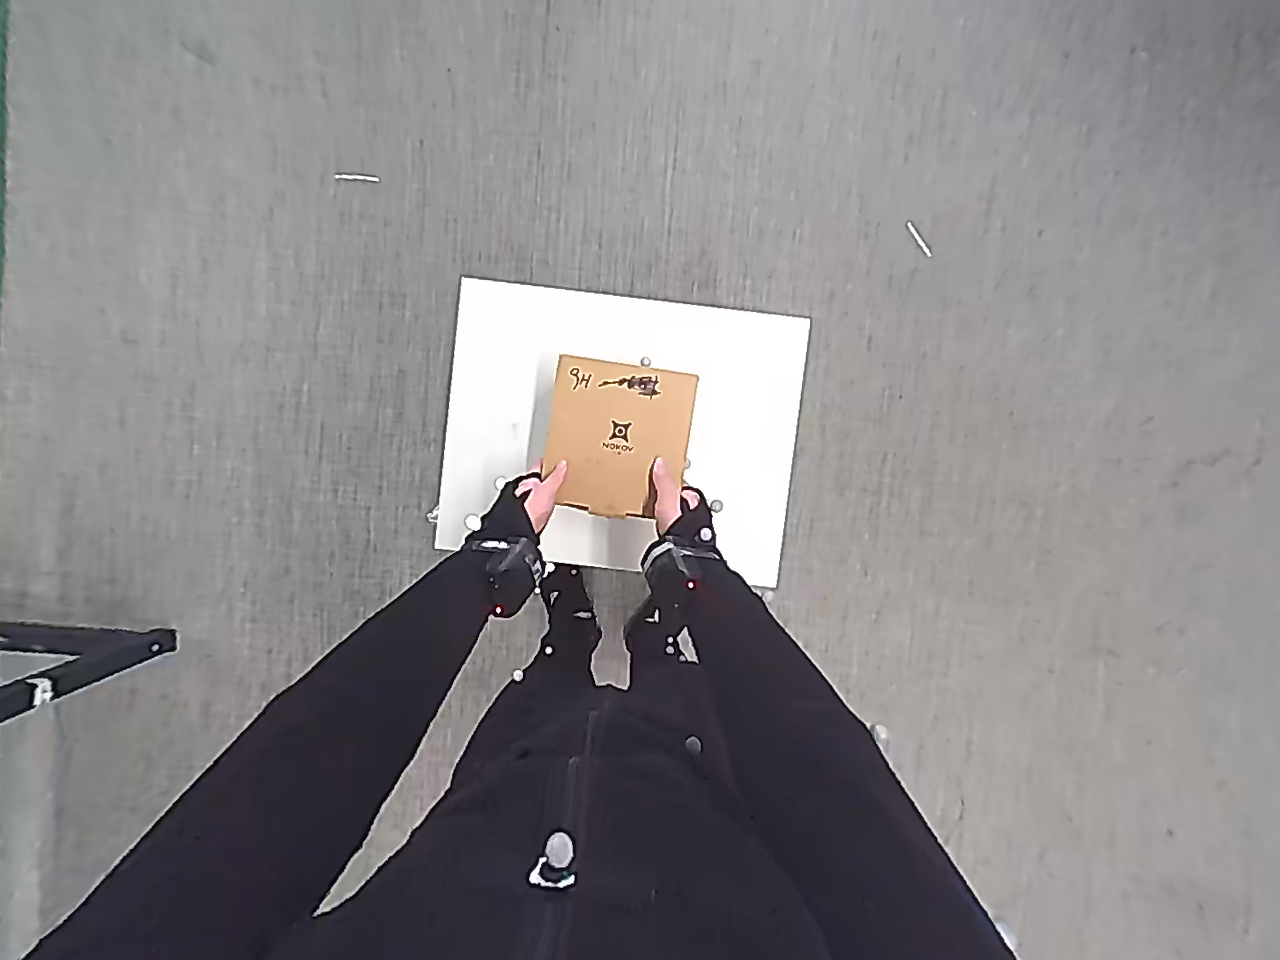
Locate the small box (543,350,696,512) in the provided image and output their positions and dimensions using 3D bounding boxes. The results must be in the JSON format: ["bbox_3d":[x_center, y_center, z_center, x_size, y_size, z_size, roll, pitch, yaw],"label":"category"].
[{"bbox_3d":[-0.023,-0.061,0.717,0.168,0.176,0.179,7,92,0],"label":"small box"}]
